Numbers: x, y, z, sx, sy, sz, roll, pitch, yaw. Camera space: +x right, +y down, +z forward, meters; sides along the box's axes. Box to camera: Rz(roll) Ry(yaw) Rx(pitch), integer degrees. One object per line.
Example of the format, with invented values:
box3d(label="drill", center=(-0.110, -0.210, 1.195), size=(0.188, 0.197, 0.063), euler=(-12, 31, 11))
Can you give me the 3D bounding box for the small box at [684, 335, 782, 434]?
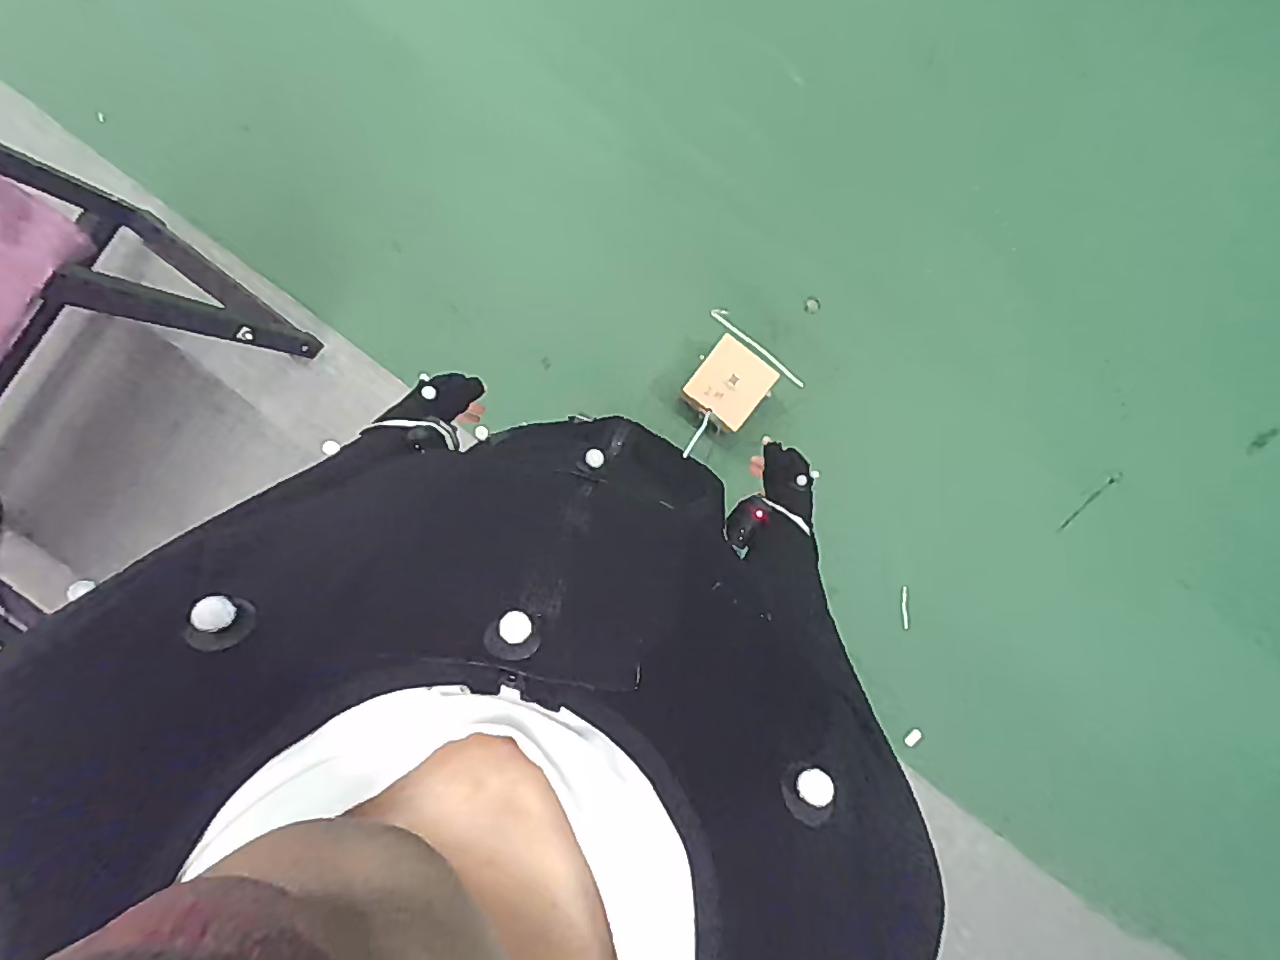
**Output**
box3d(label="small box", center=(0.222, -0.232, 1.361), size=(0.168, 0.176, 0.179), euler=(38, 94, -2))
